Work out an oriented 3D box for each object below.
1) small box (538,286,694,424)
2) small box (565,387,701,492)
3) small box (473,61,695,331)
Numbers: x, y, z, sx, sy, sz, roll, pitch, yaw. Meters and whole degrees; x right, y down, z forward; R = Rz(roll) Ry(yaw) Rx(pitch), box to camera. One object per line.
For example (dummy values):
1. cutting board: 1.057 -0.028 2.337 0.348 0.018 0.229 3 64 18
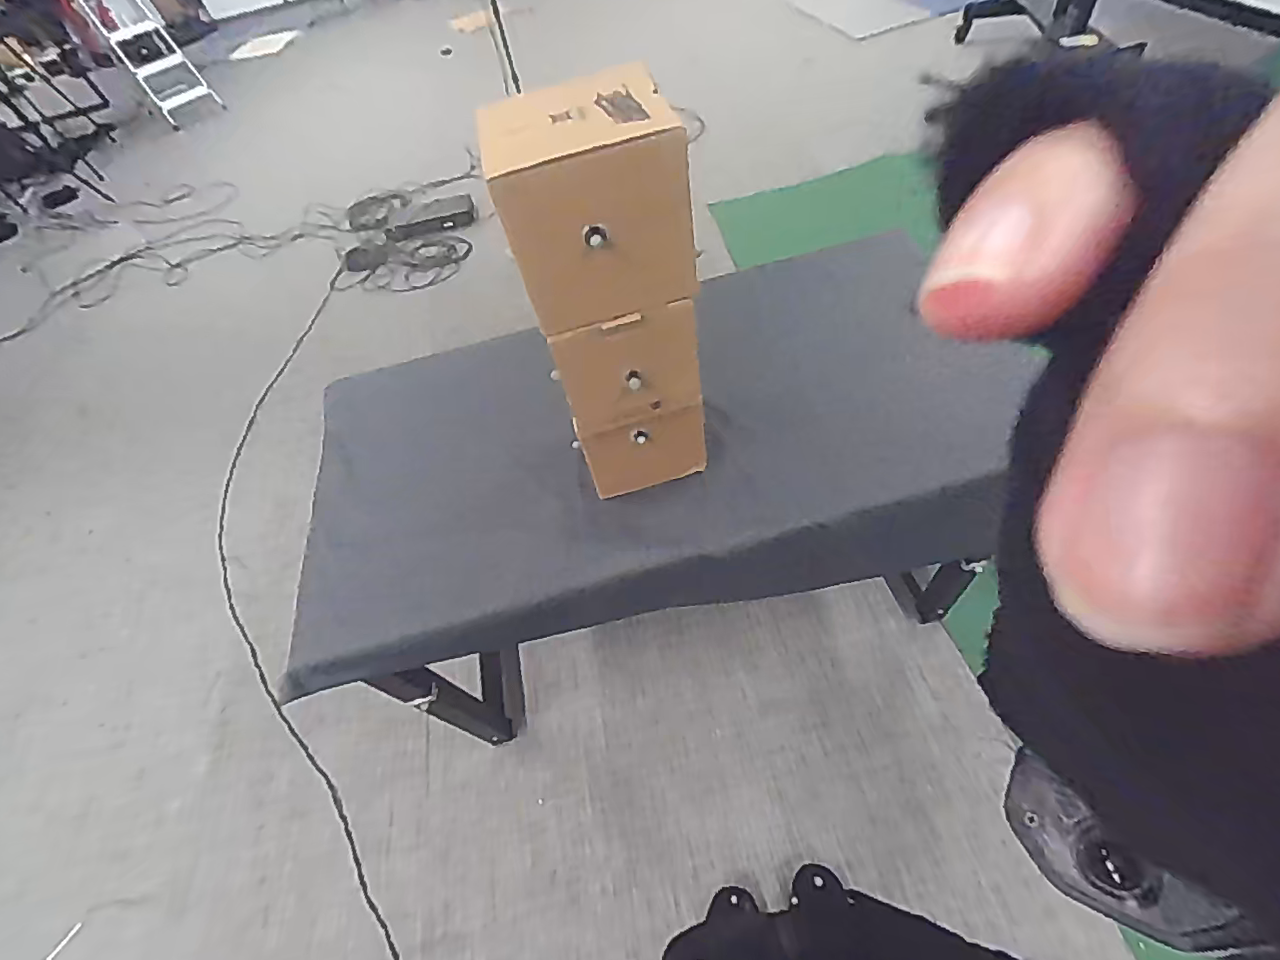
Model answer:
1. small box: -0.034 -0.192 0.688 0.168 0.176 0.179 -16 55 -2
2. small box: -0.013 -0.104 0.824 0.179 0.176 0.168 -15 55 -2
3. small box: -0.051 -0.283 0.552 0.179 0.176 0.168 -17 55 -4
